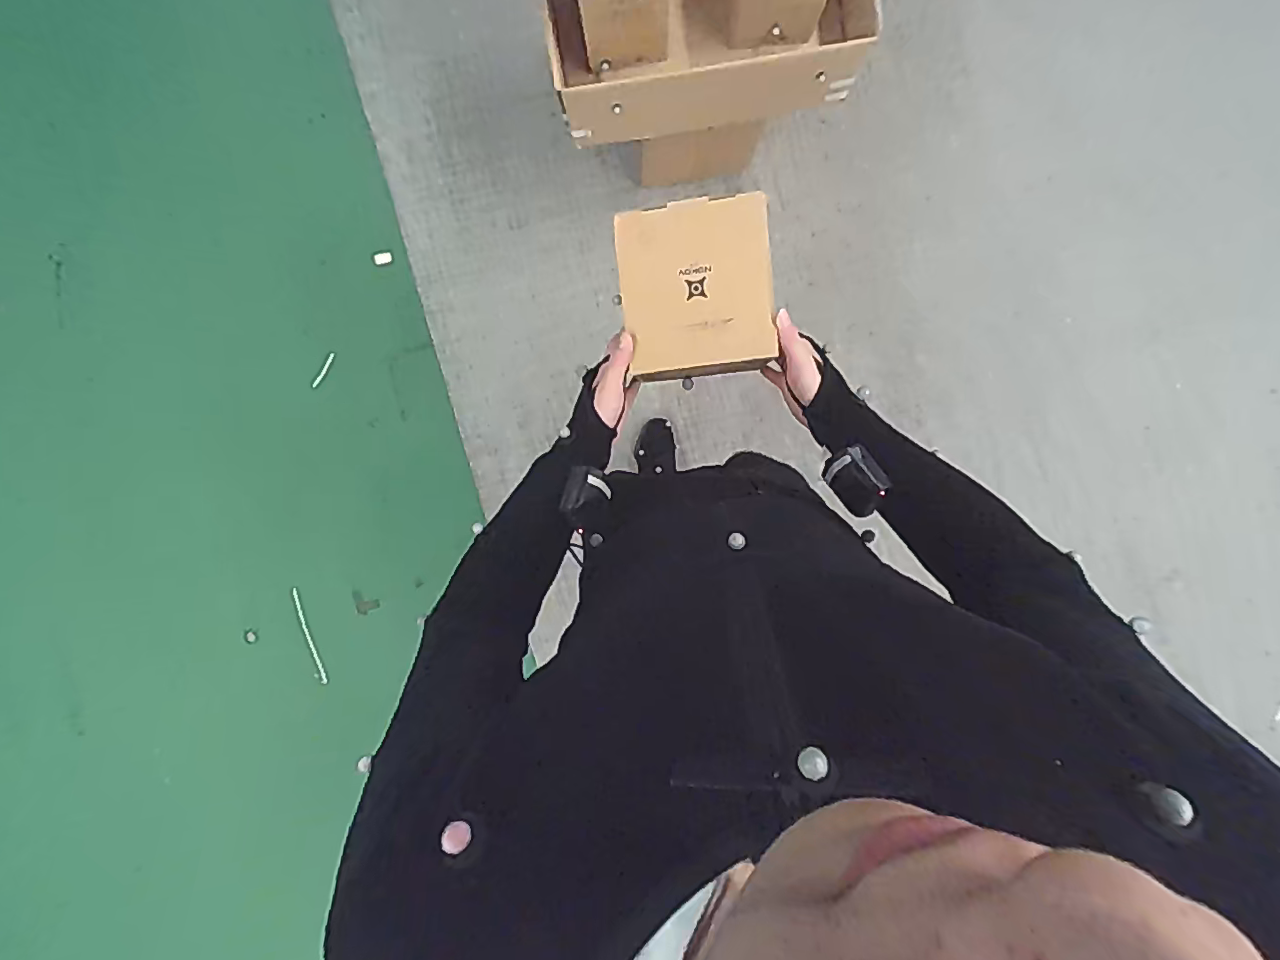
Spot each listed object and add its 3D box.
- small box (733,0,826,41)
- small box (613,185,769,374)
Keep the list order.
[{"bbox_3d":[0.268,-0.989,1.025,0.168,0.176,0.179,-4,96,3],"label":"small box"},{"bbox_3d":[0.063,-0.232,0.670,0.168,0.176,0.179,-4,97,7],"label":"small box"}]
